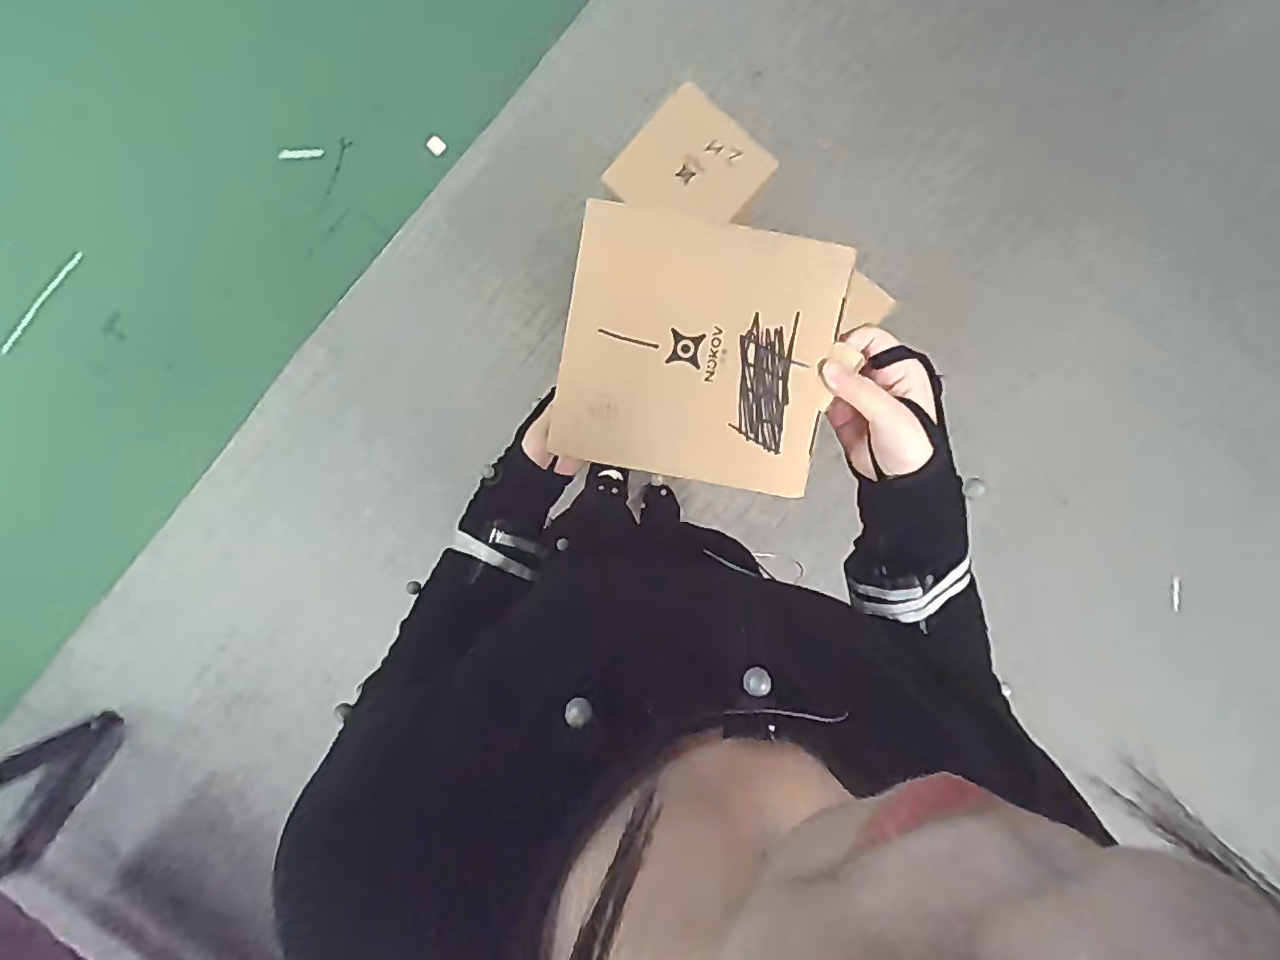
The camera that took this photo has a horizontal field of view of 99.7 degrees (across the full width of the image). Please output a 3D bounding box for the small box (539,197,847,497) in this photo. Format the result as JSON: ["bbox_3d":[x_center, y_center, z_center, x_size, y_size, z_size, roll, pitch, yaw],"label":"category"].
[{"bbox_3d":[0.032,-0.093,0.429,0.179,0.176,0.168,10,97,-1],"label":"small box"}]

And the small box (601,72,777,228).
[{"bbox_3d":[0.065,-0.415,0.784,0.168,0.176,0.179,43,92,-2],"label":"small box"}]

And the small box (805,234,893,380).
[{"bbox_3d":[0.295,-0.284,0.952,0.179,0.176,0.168,40,90,1],"label":"small box"}]
